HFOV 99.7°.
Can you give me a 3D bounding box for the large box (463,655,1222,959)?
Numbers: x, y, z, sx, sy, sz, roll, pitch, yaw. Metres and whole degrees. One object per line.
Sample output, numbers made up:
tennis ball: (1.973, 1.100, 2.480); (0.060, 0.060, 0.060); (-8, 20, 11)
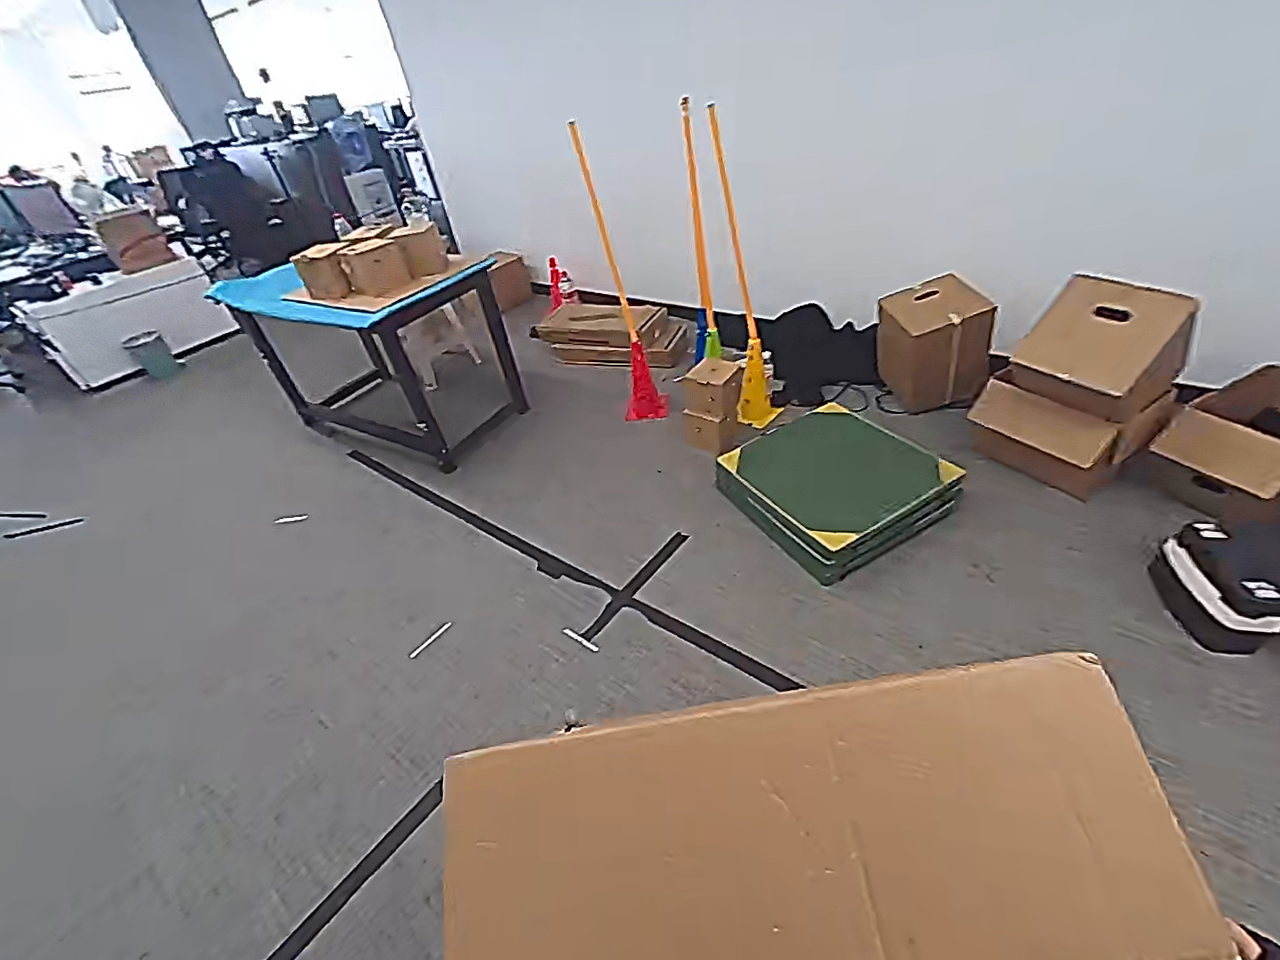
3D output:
large box: (0.121, 0.345, 0.419); (0.408, 0.320, 0.320); (-12, 67, 4)
